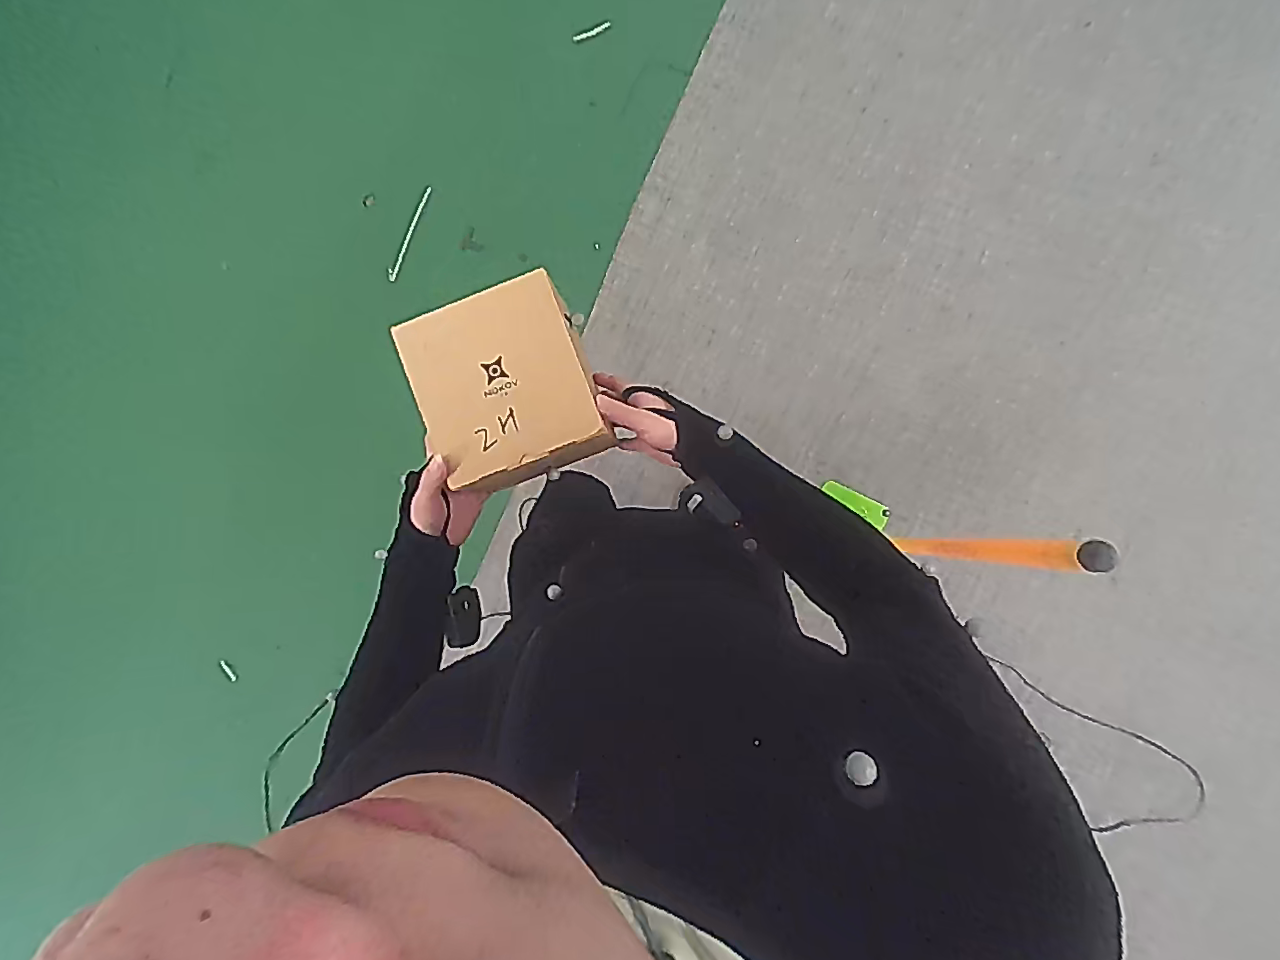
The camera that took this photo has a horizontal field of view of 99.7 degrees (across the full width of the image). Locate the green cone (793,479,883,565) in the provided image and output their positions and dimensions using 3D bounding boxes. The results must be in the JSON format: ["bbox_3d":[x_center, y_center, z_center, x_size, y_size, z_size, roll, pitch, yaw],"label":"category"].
[{"bbox_3d":[0.542,0.129,1.387,0.200,0.368,0.202,26,96,7],"label":"green cone"}]
